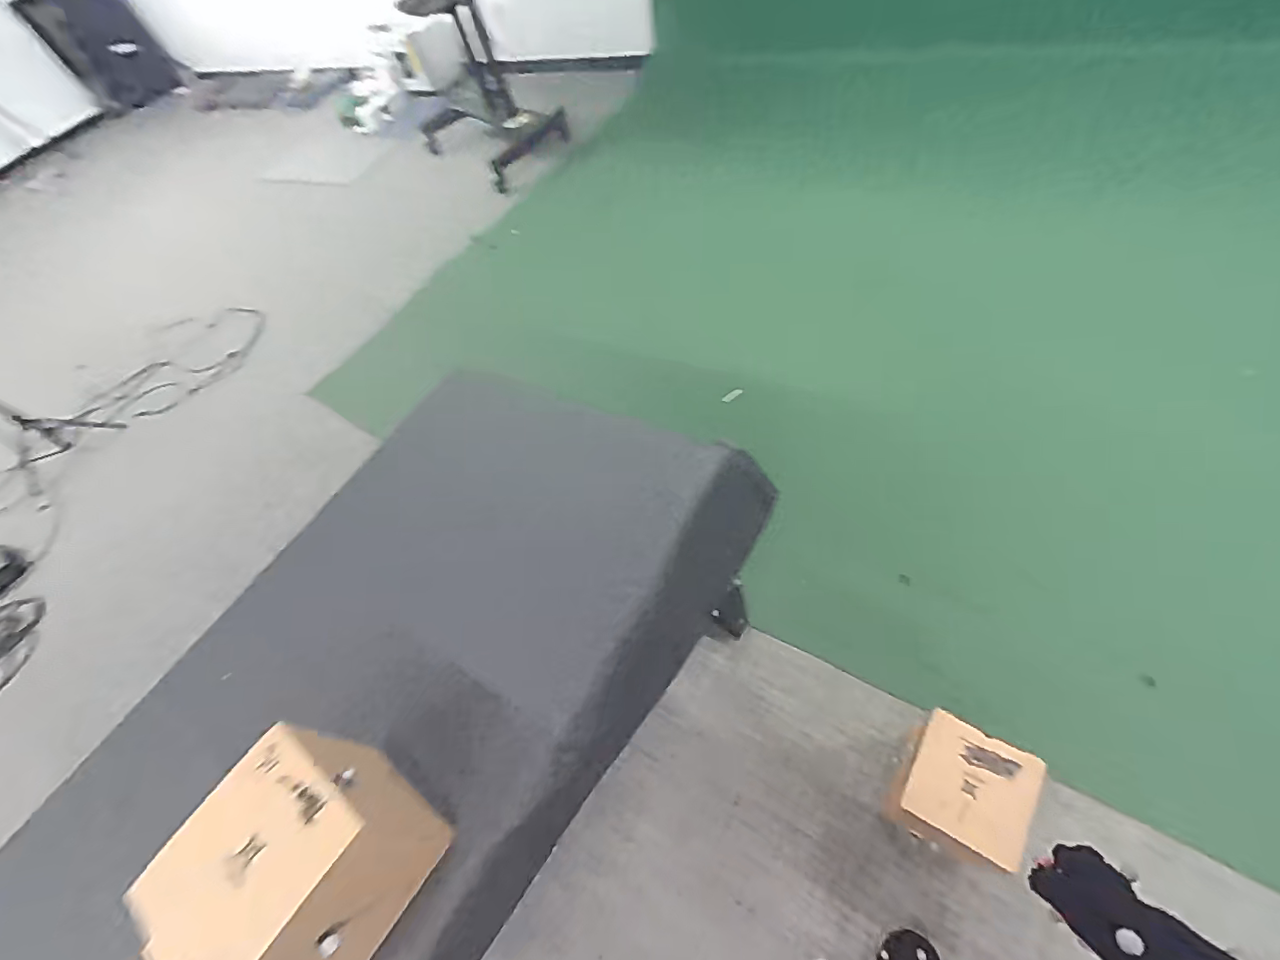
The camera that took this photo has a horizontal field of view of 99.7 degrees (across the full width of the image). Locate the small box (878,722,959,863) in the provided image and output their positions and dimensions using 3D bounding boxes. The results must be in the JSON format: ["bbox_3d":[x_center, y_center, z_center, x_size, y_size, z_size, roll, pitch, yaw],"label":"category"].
[{"bbox_3d":[0.580,0.611,1.055,0.168,0.176,0.179,22,65,29],"label":"small box"}]

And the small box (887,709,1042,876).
[{"bbox_3d":[0.538,0.527,0.918,0.168,0.176,0.179,24,66,30],"label":"small box"}]
